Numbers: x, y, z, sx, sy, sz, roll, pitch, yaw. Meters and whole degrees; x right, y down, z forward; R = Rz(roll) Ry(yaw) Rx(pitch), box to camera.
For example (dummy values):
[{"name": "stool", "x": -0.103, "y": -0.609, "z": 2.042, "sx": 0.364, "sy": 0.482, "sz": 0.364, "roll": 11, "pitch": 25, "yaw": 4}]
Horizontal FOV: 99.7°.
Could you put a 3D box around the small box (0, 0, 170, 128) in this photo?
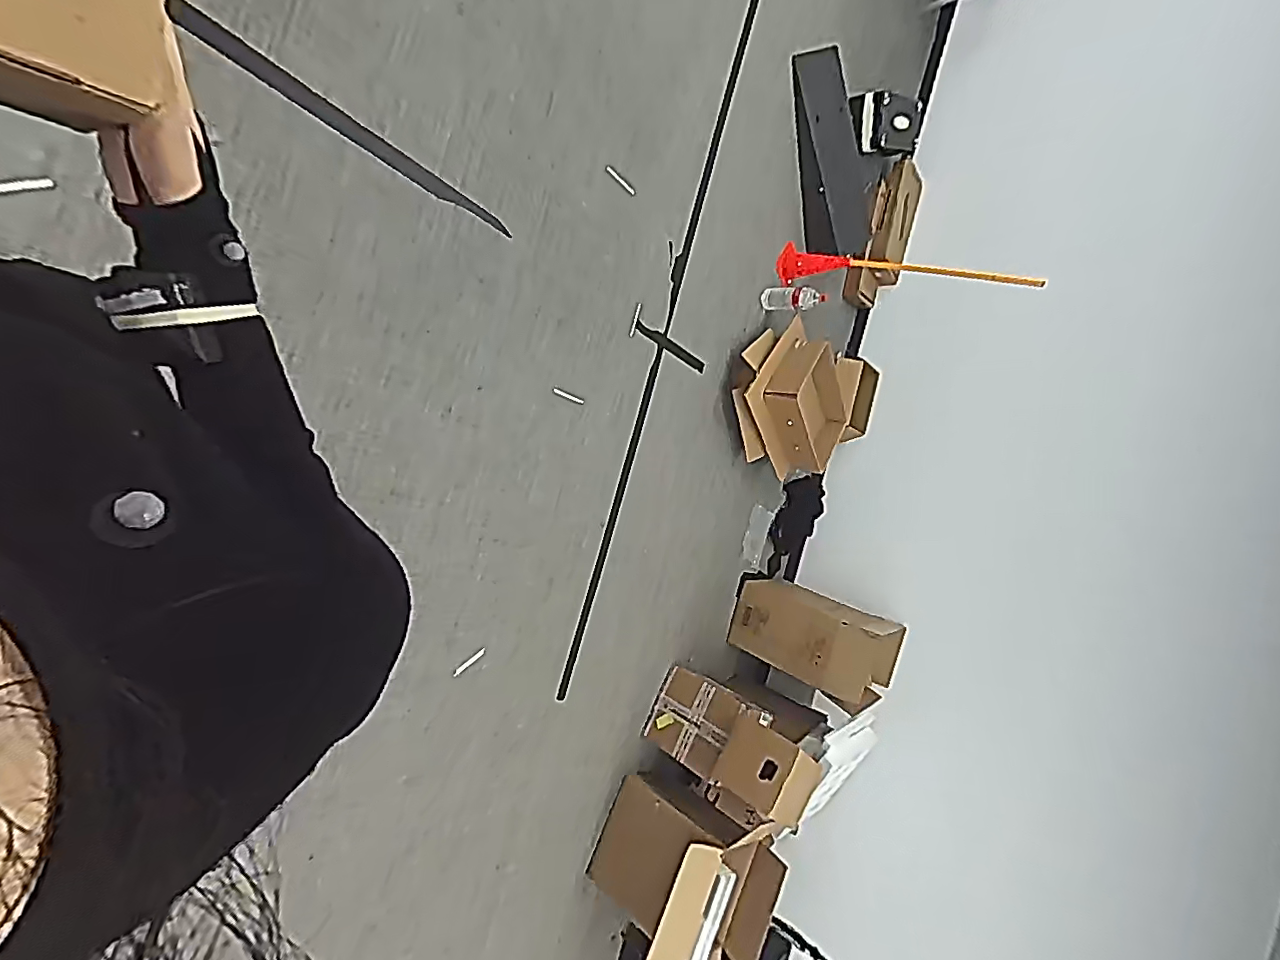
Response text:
[{"name": "small box", "x": -0.348, "y": -0.295, "z": 0.255, "sx": 0.168, "sy": 0.176, "sz": 0.179, "roll": -5, "pitch": 112, "yaw": -54}]
